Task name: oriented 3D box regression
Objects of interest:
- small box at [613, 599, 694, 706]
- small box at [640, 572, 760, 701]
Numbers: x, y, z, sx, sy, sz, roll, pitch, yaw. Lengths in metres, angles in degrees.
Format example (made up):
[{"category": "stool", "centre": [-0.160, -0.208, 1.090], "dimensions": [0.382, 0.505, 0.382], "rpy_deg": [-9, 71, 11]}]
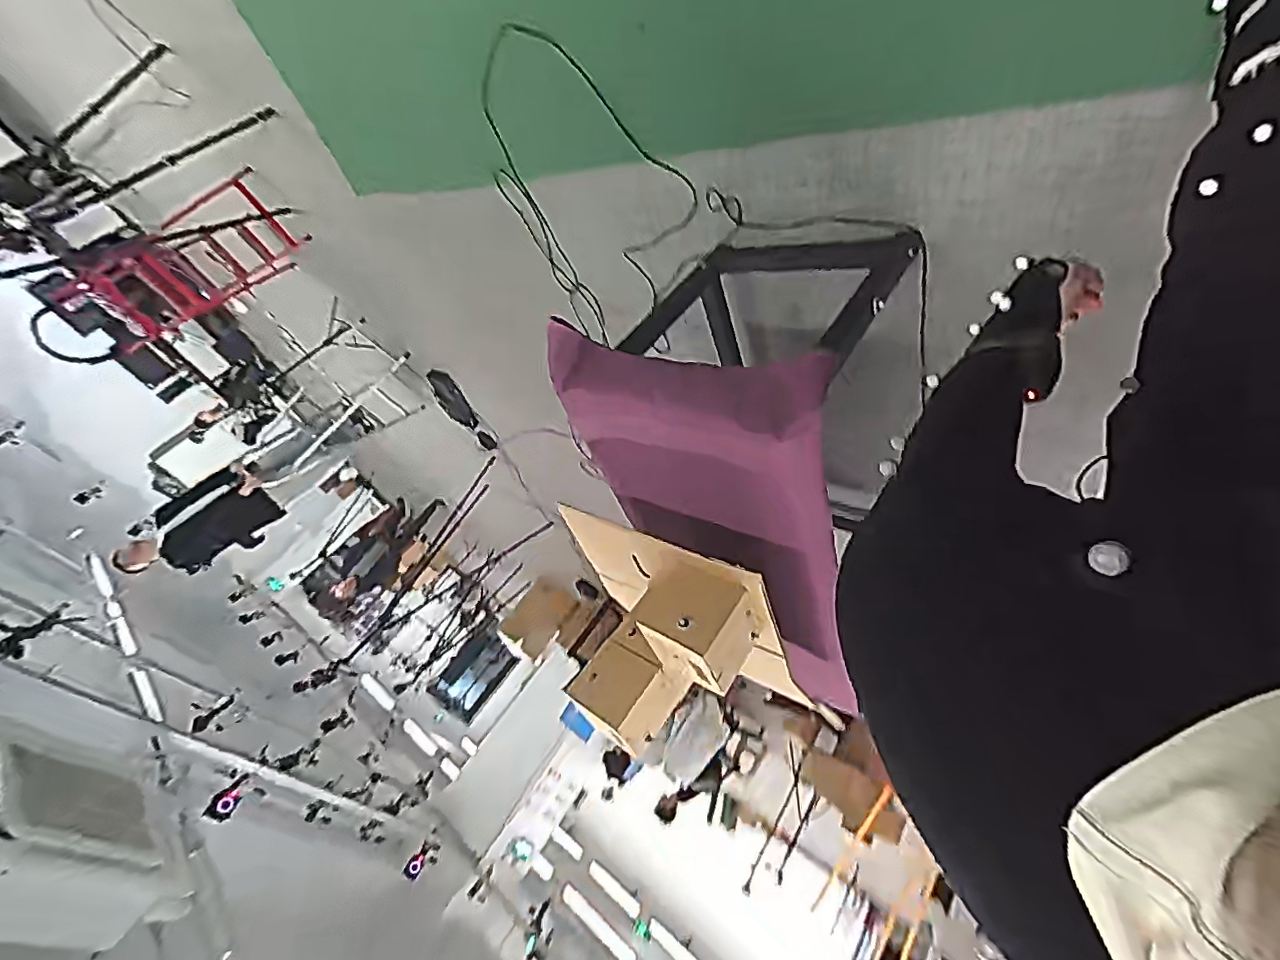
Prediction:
[{"category": "small box", "centre": [0.067, 0.430, 1.376], "dimensions": [0.179, 0.176, 0.168], "rpy_deg": [16, 143, 39]}, {"category": "small box", "centre": [0.136, 0.320, 1.135], "dimensions": [0.179, 0.176, 0.168], "rpy_deg": [16, 143, 40]}]
